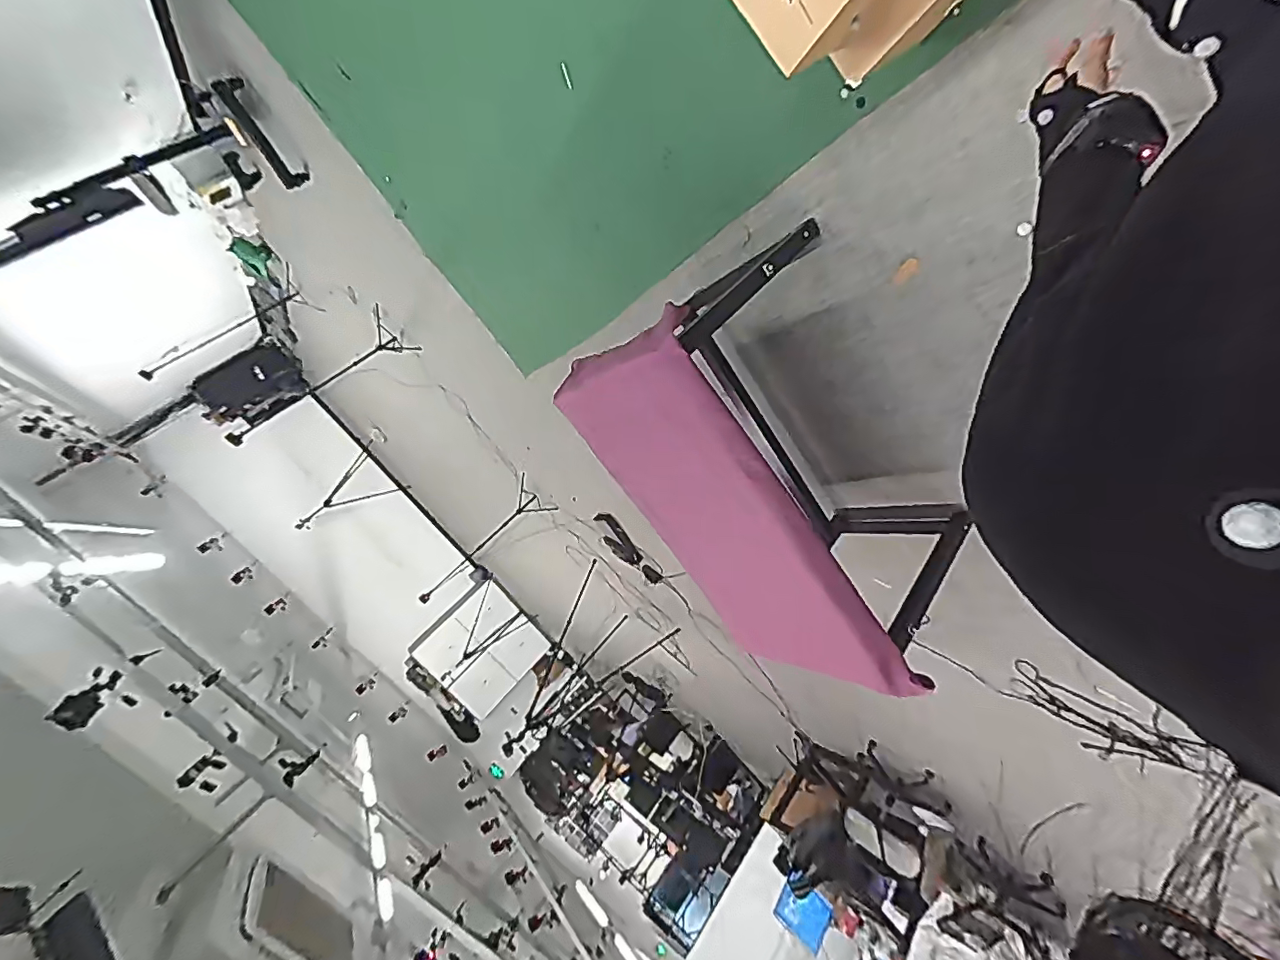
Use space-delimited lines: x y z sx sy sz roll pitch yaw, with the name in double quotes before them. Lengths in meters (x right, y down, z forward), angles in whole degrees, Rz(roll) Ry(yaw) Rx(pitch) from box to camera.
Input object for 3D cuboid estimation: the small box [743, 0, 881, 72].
"small box" 0.293 -0.818 0.868 0.179 0.176 0.168 50 154 -9
